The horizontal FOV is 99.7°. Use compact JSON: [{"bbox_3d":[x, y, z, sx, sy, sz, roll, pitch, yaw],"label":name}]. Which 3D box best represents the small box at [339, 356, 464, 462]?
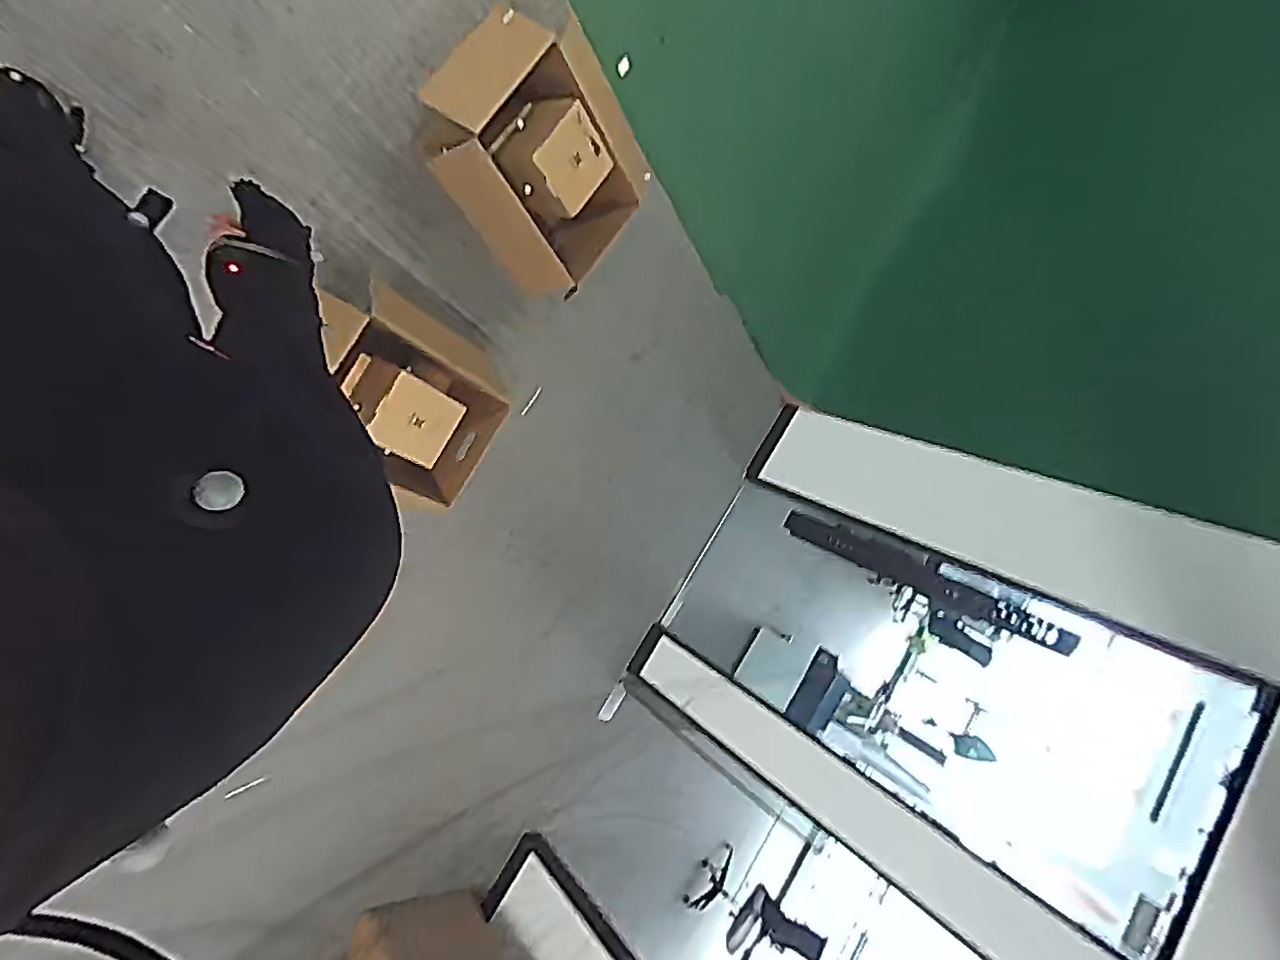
[{"bbox_3d":[-0.547,-0.167,1.235,0.179,0.176,0.168,35,85,-49],"label":"small box"}]
